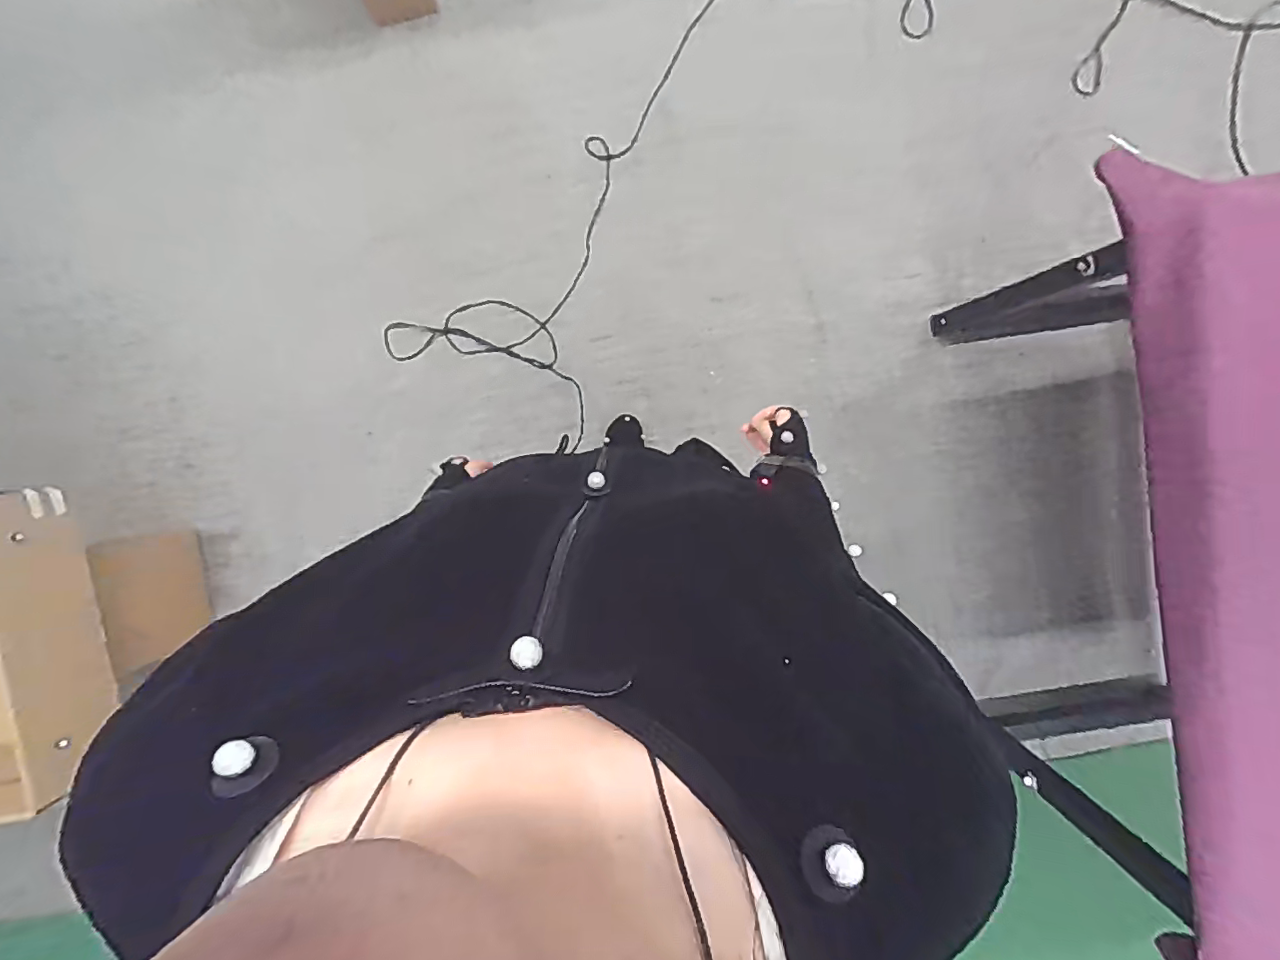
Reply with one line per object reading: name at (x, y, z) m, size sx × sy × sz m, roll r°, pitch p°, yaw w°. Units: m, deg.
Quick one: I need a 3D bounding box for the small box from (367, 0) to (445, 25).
small box at (-0.607, -1.275, 1.332) m, size 0.179 × 0.176 × 0.168 m, roll -10°, pitch 94°, yaw 1°
